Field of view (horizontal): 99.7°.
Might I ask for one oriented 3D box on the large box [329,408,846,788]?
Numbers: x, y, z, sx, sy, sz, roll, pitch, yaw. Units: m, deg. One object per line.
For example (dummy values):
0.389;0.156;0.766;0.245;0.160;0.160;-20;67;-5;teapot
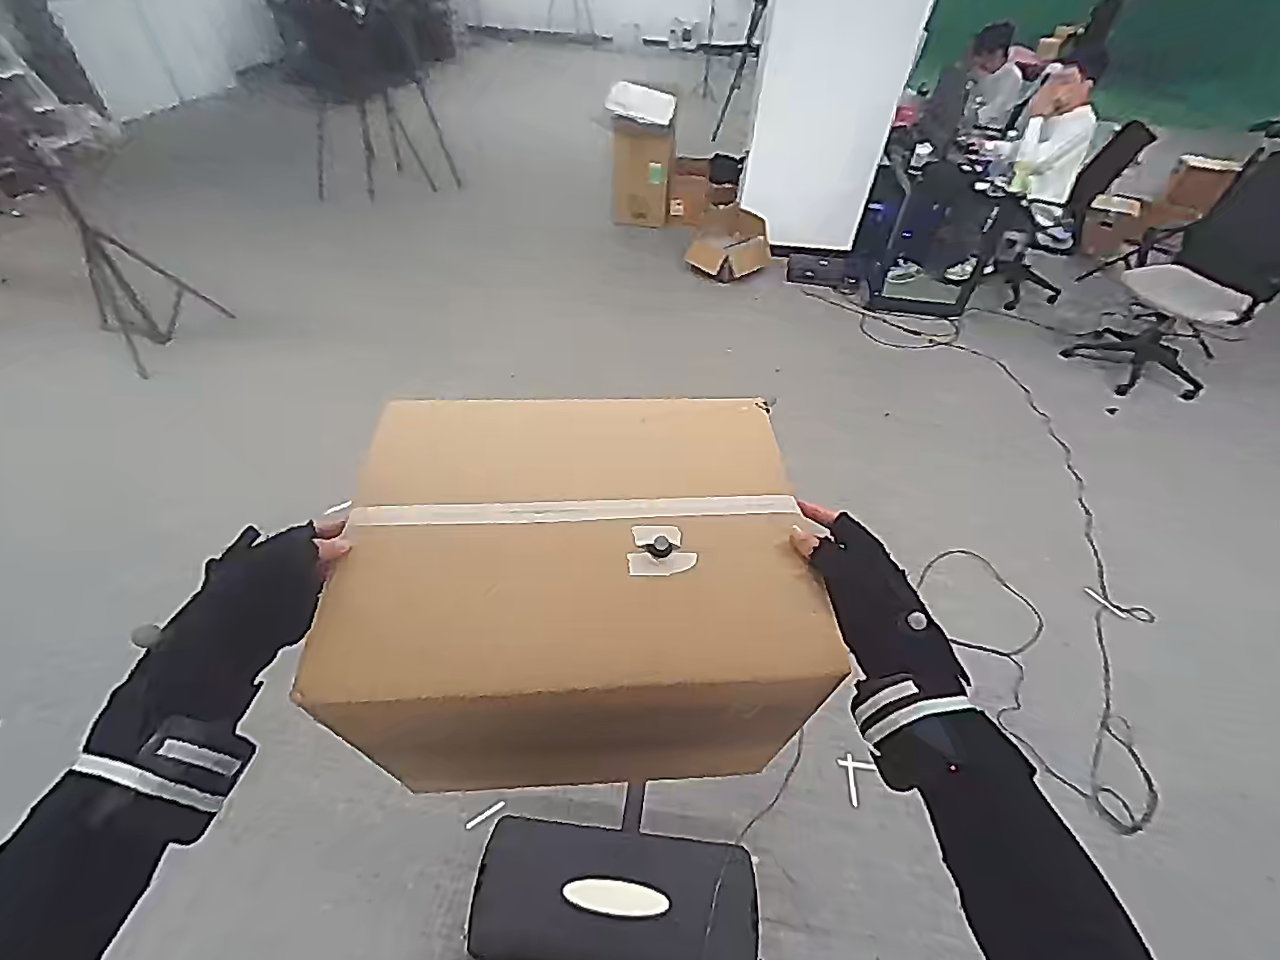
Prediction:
-0.053;0.134;0.617;0.408;0.320;0.320;-1;50;-5;large box
